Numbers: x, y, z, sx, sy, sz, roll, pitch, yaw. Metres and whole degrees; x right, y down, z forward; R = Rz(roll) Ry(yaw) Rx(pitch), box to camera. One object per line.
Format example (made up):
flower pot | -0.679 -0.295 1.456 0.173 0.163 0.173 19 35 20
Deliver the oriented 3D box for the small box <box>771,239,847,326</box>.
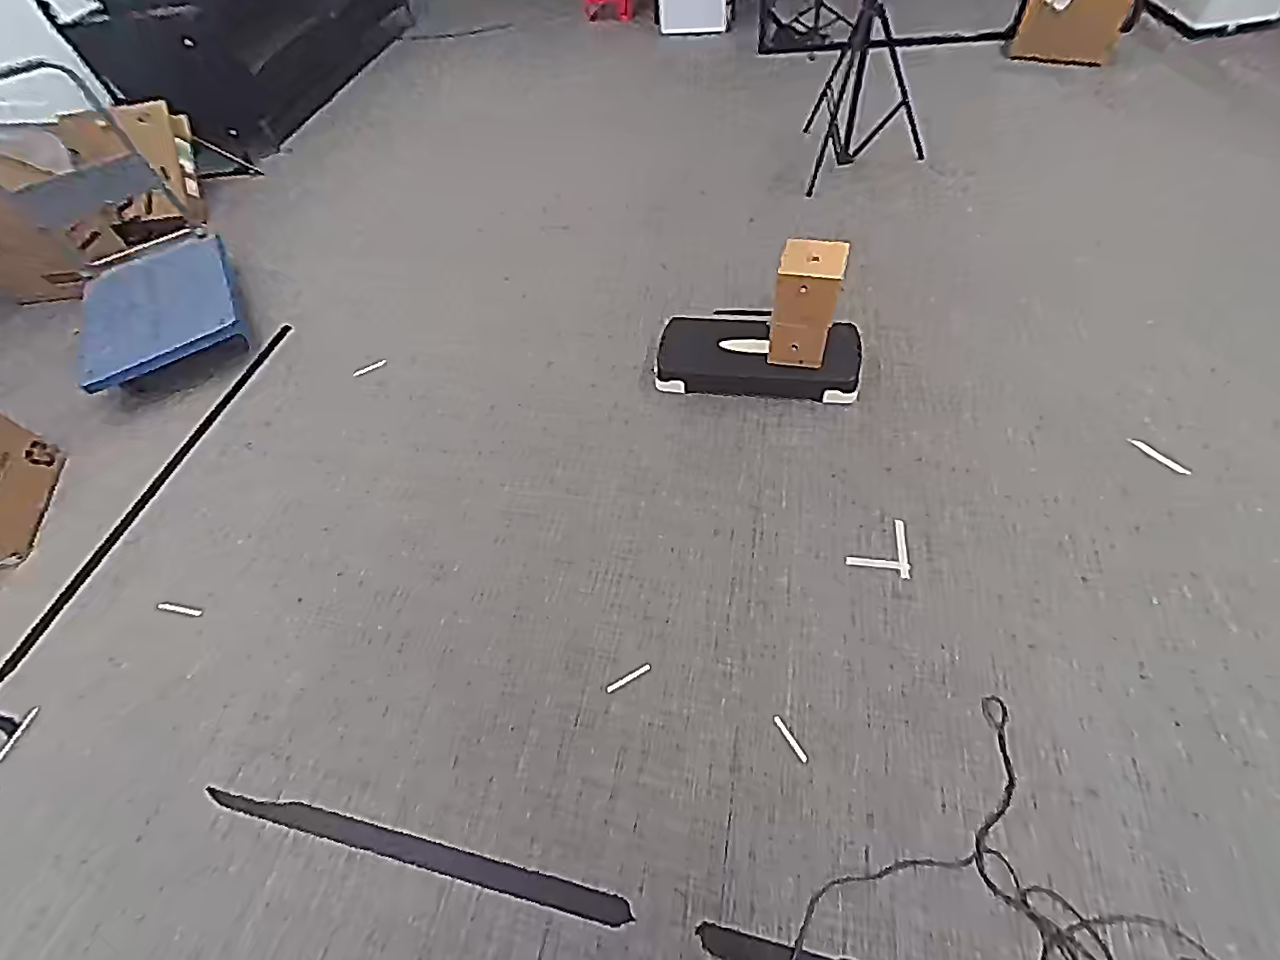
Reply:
small box | 0.487 -0.569 1.570 0.179 0.176 0.168 11 59 17

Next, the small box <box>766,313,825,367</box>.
small box | 0.495 -0.479 1.706 0.168 0.176 0.179 9 58 14
